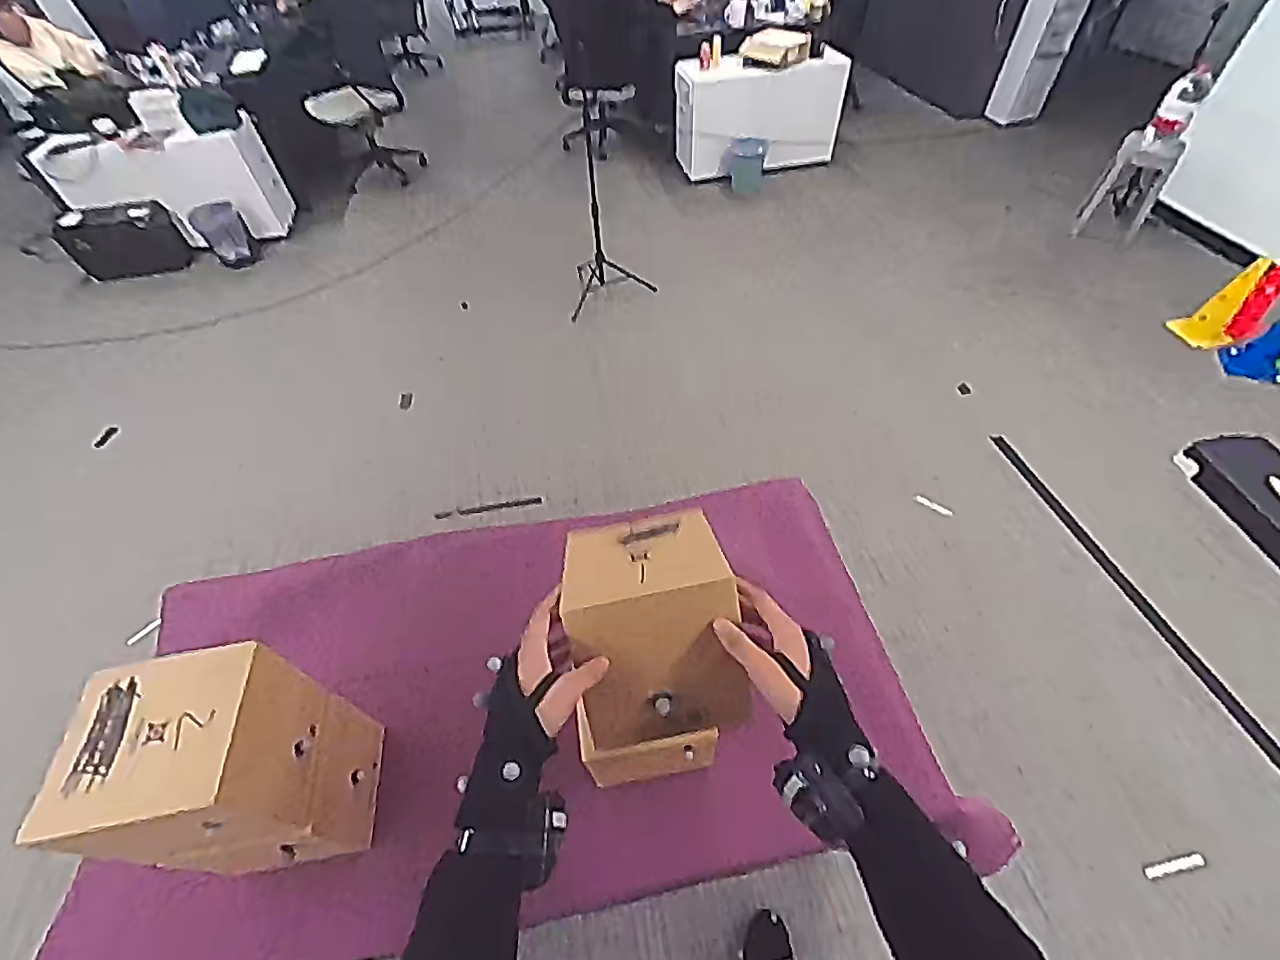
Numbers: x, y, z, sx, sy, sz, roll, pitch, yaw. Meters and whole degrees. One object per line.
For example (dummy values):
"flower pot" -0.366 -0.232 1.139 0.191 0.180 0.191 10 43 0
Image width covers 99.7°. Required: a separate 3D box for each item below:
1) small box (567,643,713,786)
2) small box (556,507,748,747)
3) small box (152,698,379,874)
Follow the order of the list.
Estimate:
"small box" -0.001 0.324 0.782 0.179 0.176 0.168 -9 51 -5
"small box" 0.012 0.151 0.590 0.168 0.176 0.179 -12 22 0
"small box" -0.479 0.415 0.730 0.179 0.176 0.168 -9 51 -4
